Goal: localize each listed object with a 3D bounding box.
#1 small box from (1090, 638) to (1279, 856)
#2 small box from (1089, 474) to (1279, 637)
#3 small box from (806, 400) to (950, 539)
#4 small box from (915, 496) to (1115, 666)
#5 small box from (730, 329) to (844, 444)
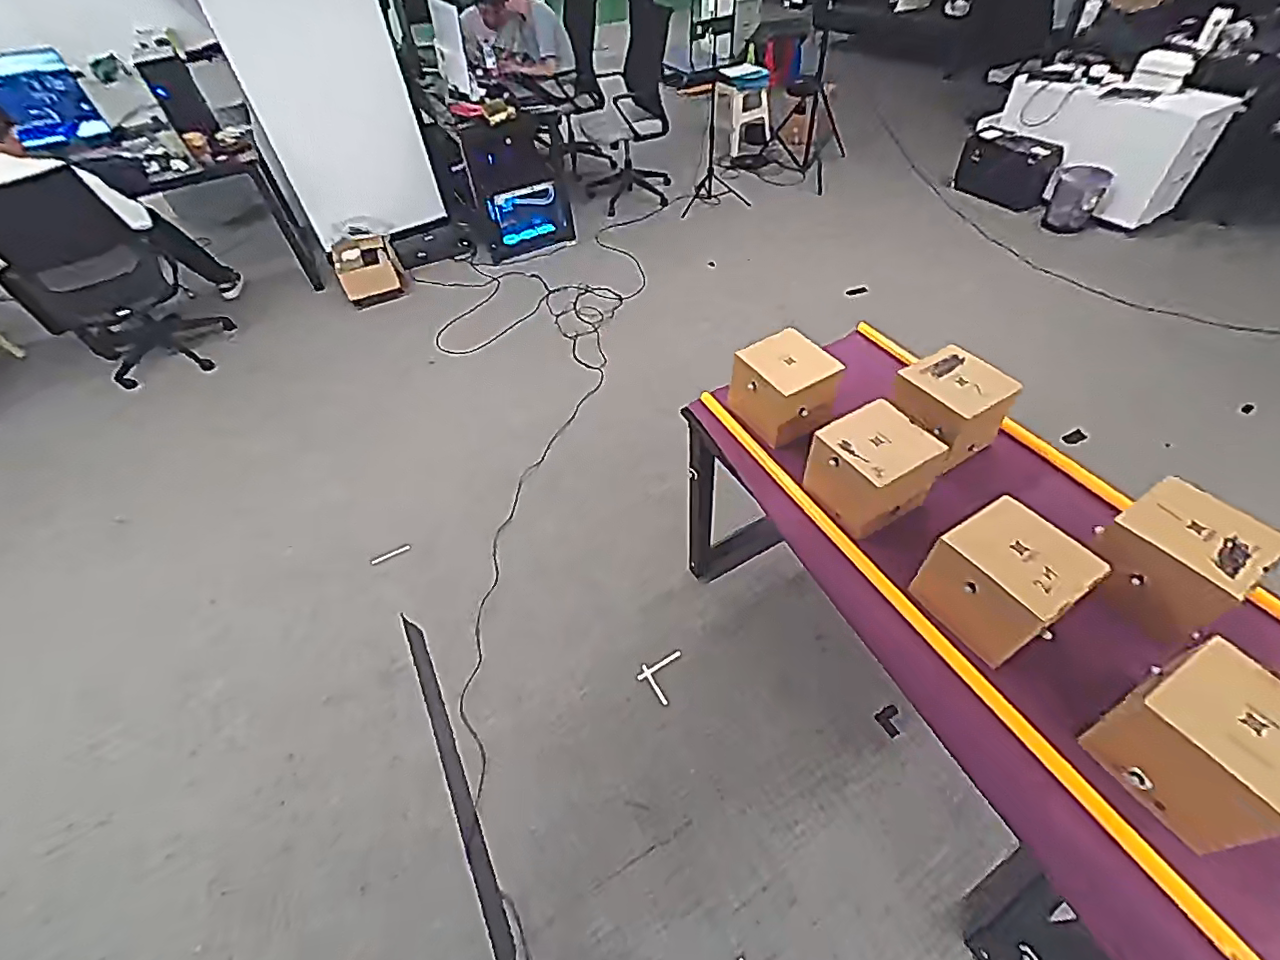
[{"bbox_3d":[0.748,0.345,0.701,0.179,0.176,0.168,-25,50,-18],"label":"small box"},{"bbox_3d":[0.866,0.130,0.877,0.168,0.176,0.179,-28,51,-17],"label":"small box"},{"bbox_3d":[0.447,-0.019,1.047,0.179,0.176,0.168,-25,50,-16],"label":"small box"},{"bbox_3d":[0.586,0.164,0.875,0.168,0.176,0.179,-26,52,-18],"label":"small box"},{"bbox_3d":[0.322,-0.203,1.218,0.168,0.176,0.179,-27,53,-17],"label":"small box"}]
